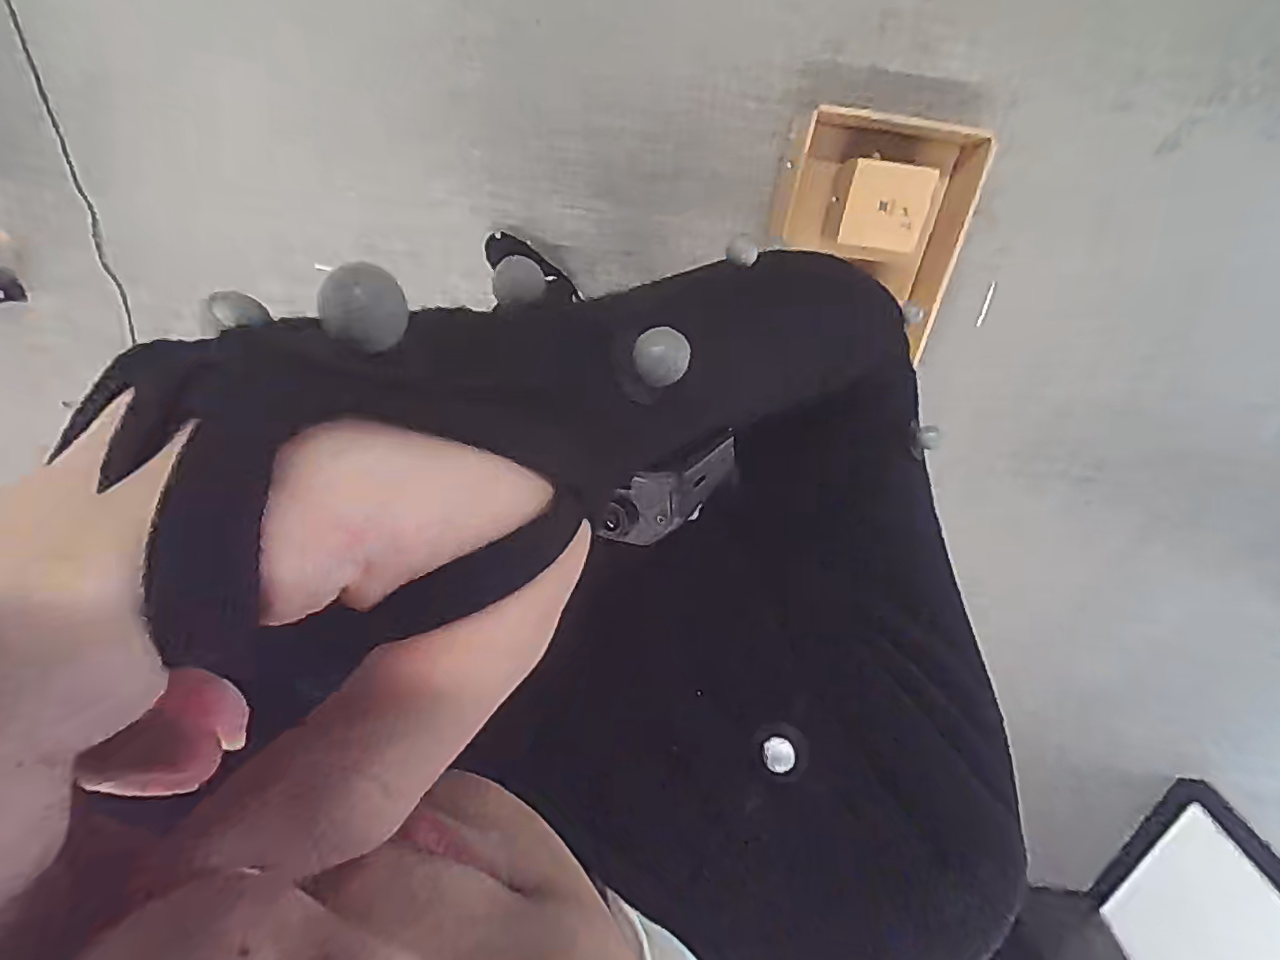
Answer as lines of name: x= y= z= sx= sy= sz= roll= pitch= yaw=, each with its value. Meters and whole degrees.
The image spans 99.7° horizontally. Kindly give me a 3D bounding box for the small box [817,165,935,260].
small box: x=0.524 y=-0.607 z=1.234 sx=0.179 sy=0.176 sz=0.168 roll=9 pitch=117 yaw=-2
